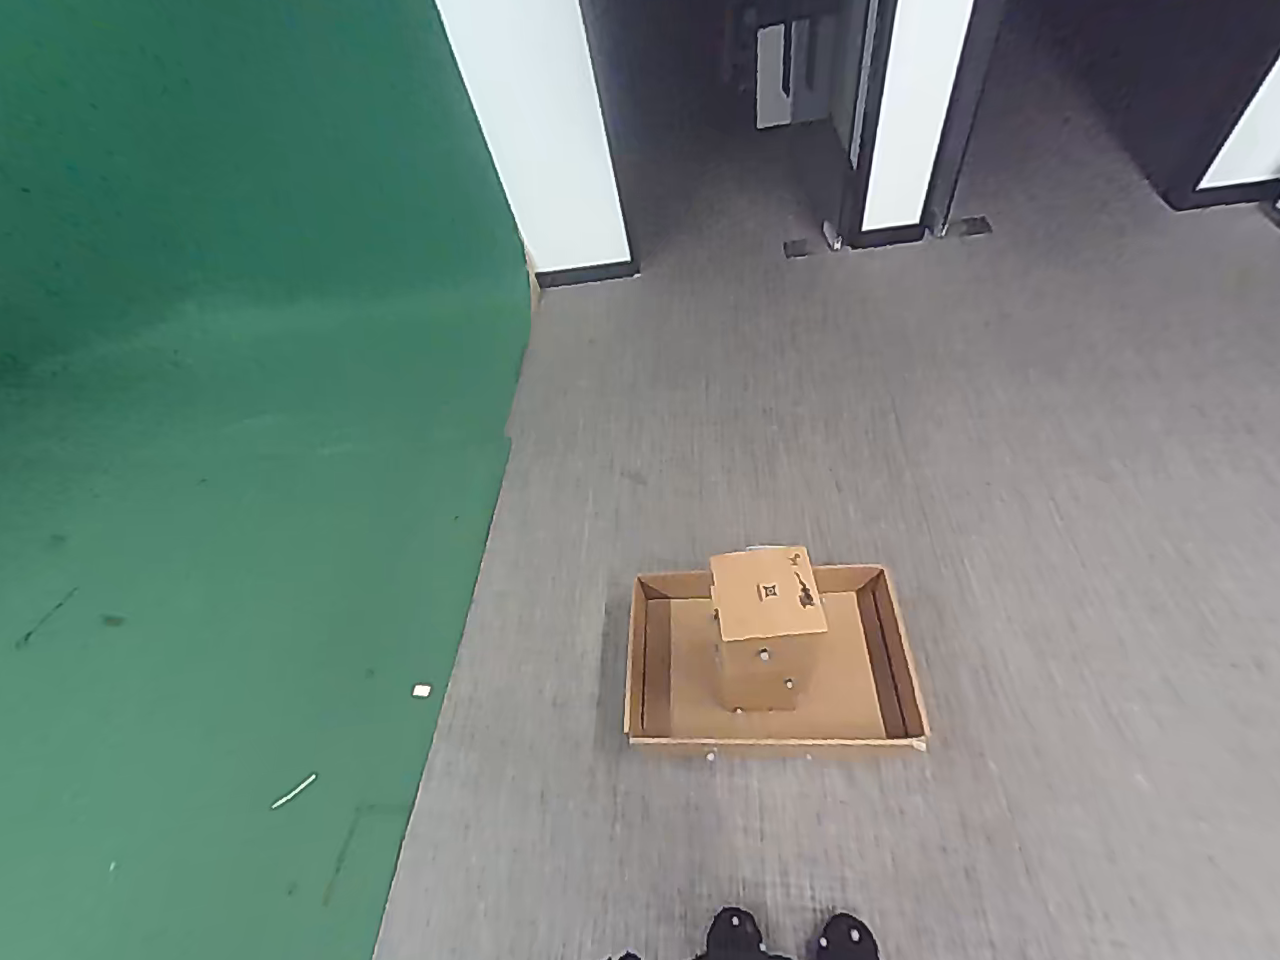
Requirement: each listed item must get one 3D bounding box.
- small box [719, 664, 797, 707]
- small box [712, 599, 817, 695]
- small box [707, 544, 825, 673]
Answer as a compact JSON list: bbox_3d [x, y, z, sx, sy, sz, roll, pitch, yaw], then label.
[{"bbox_3d":[0.271,0.424,1.265,0.168,0.176,0.179,-4,53,9],"label":"small box"},{"bbox_3d":[0.248,0.331,1.115,0.179,0.176,0.168,-9,52,4],"label":"small box"},{"bbox_3d":[0.227,0.242,1.002,0.179,0.176,0.168,-9,50,3],"label":"small box"}]
